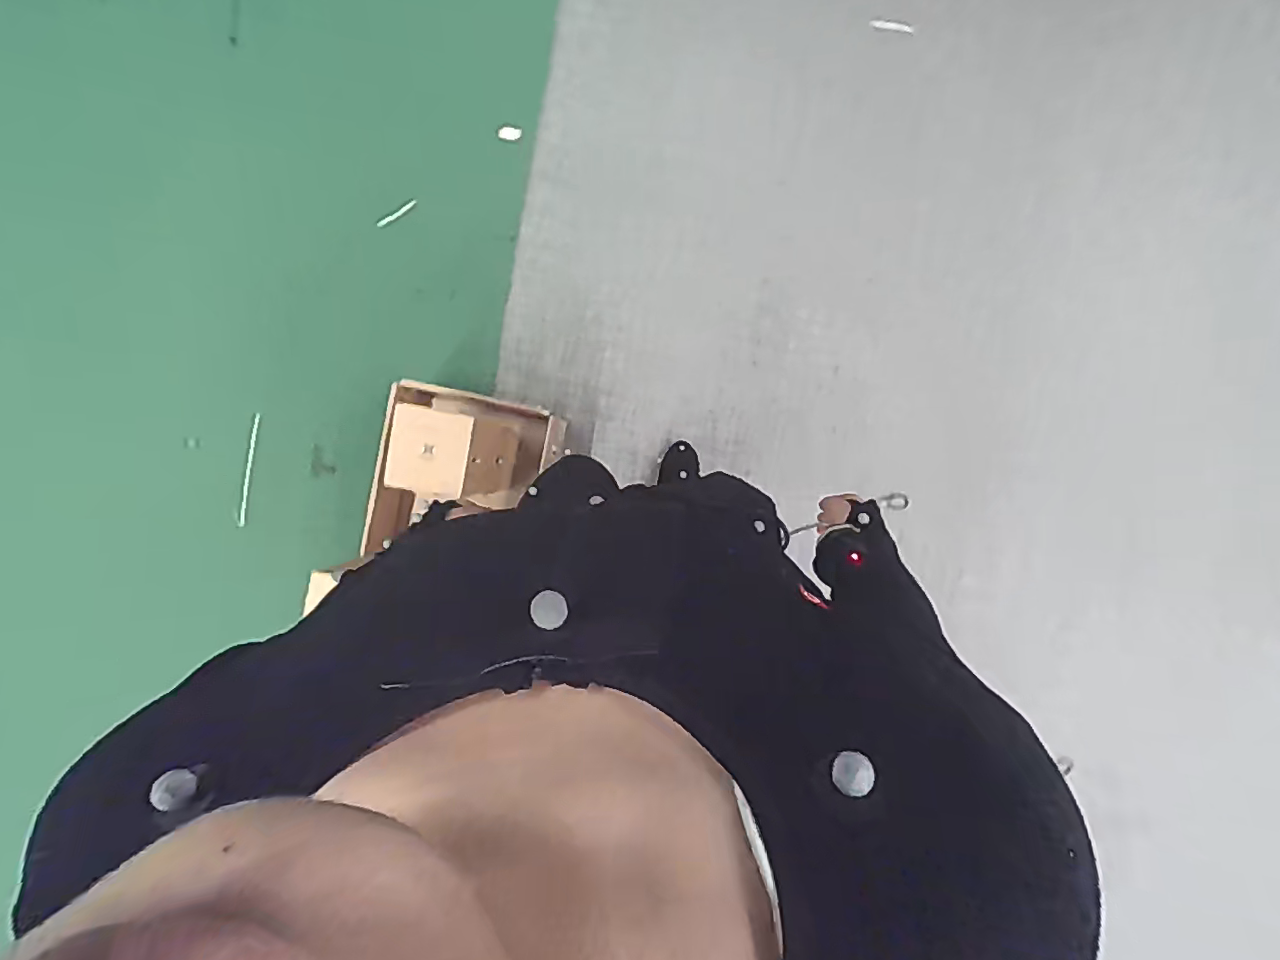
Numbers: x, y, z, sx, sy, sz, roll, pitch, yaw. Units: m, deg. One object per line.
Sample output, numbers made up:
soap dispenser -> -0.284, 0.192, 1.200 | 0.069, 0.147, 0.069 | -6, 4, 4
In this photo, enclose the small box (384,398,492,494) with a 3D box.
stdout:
small box -> -0.436, -0.076, 1.193 | 0.168, 0.176, 0.179 | 10, 94, -1
